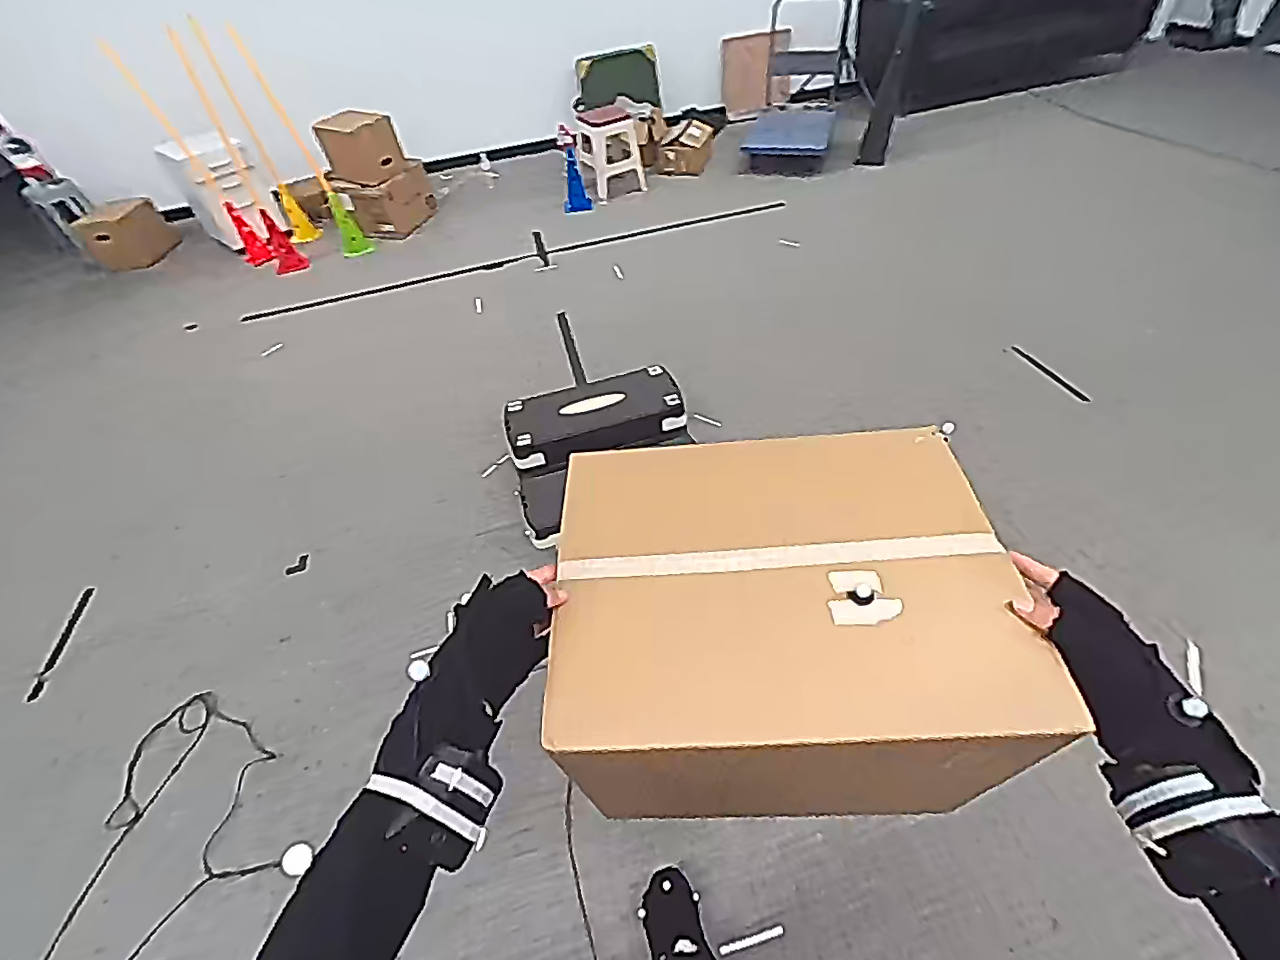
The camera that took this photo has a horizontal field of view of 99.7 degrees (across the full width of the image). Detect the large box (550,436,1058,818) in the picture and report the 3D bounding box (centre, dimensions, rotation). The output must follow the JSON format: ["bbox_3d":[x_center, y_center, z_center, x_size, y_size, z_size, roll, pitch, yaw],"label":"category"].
[{"bbox_3d":[0.133,0.179,0.629,0.408,0.320,0.320,-4,49,4],"label":"large box"}]

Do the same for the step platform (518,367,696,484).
[{"bbox_3d":[-0.128,-0.223,2.114,0.684,0.204,0.286,-16,48,-9],"label":"step platform"}]
